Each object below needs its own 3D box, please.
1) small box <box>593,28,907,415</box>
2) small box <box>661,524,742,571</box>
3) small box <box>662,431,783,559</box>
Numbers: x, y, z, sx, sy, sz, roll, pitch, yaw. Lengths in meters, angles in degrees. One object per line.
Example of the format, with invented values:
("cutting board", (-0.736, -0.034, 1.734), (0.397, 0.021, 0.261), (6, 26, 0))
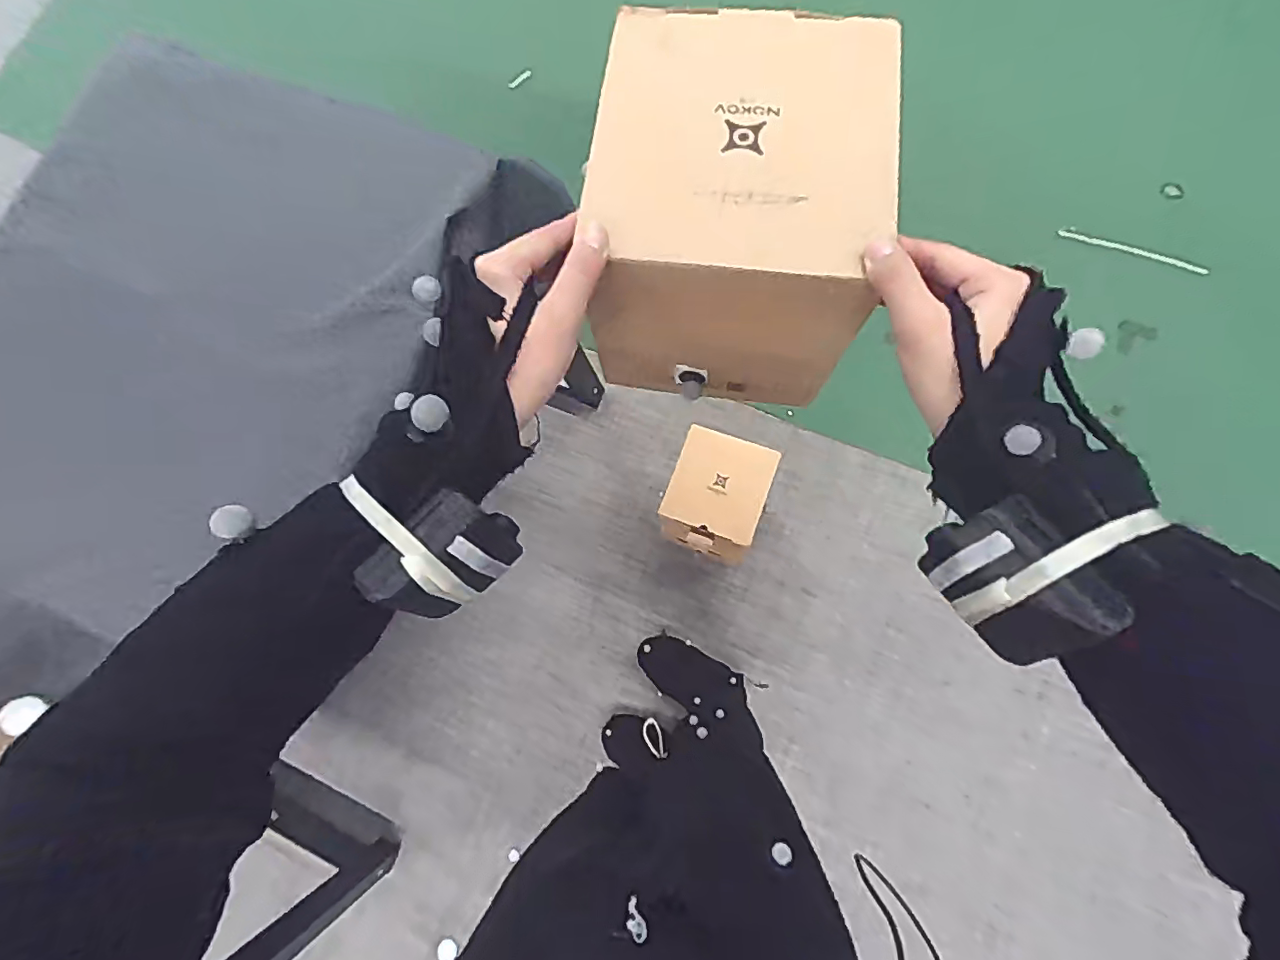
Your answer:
("small box", (0.069, -0.164, 0.381), (0.168, 0.176, 0.179), (6, 75, 5))
("small box", (0.160, 0.087, 1.157), (0.168, 0.176, 0.179), (20, 81, 12))
("small box", (0.149, 0.035, 1.000), (0.168, 0.176, 0.179), (19, 81, 10))
